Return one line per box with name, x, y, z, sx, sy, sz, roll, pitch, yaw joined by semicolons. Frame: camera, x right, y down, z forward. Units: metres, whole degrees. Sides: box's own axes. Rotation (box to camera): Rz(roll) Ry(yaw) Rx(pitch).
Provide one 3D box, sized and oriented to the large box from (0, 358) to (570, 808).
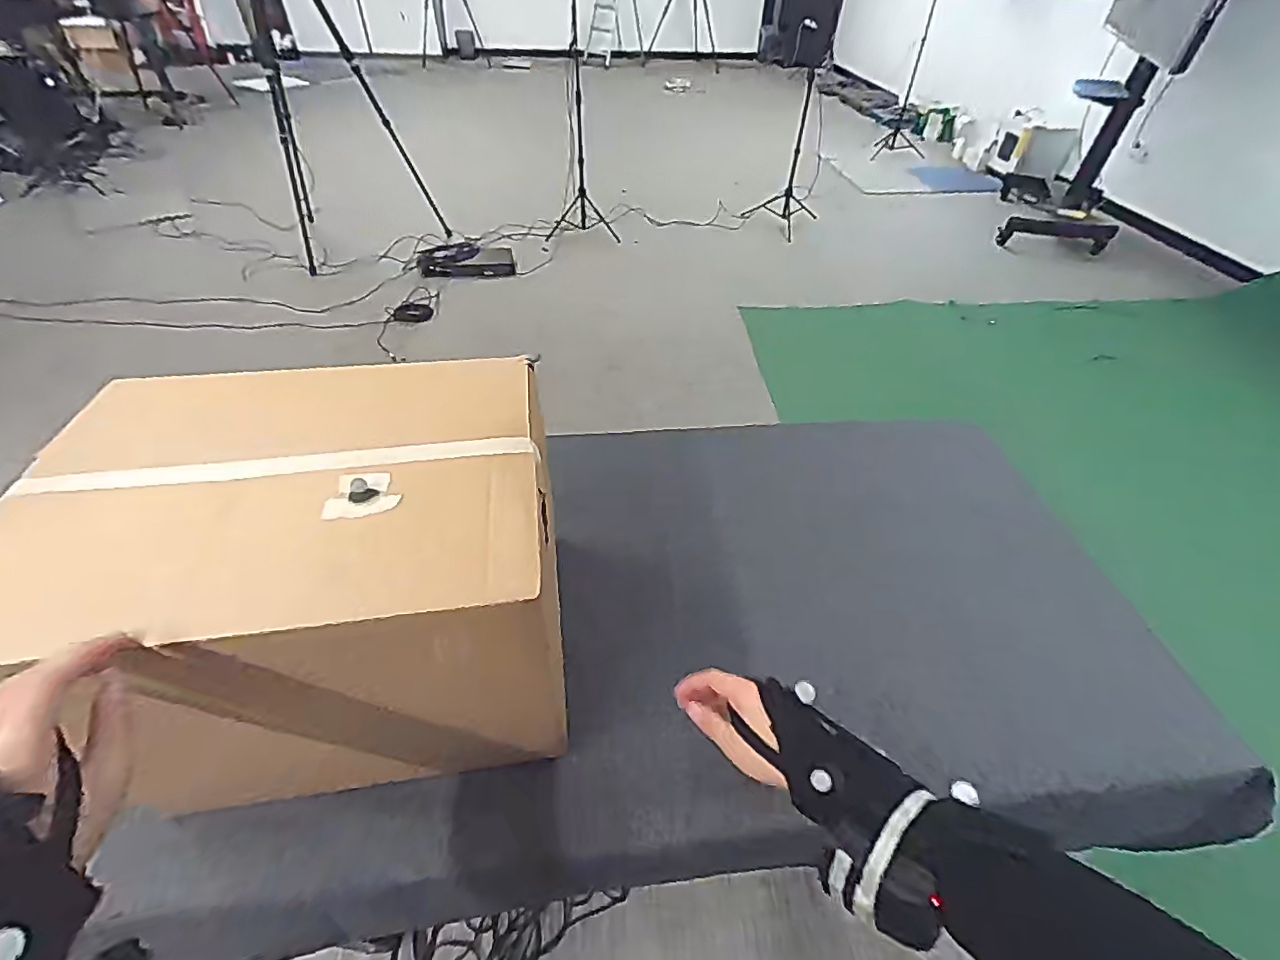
large box;-0.289;0.095;0.562;0.408;0.320;0.320;-5;46;-9
